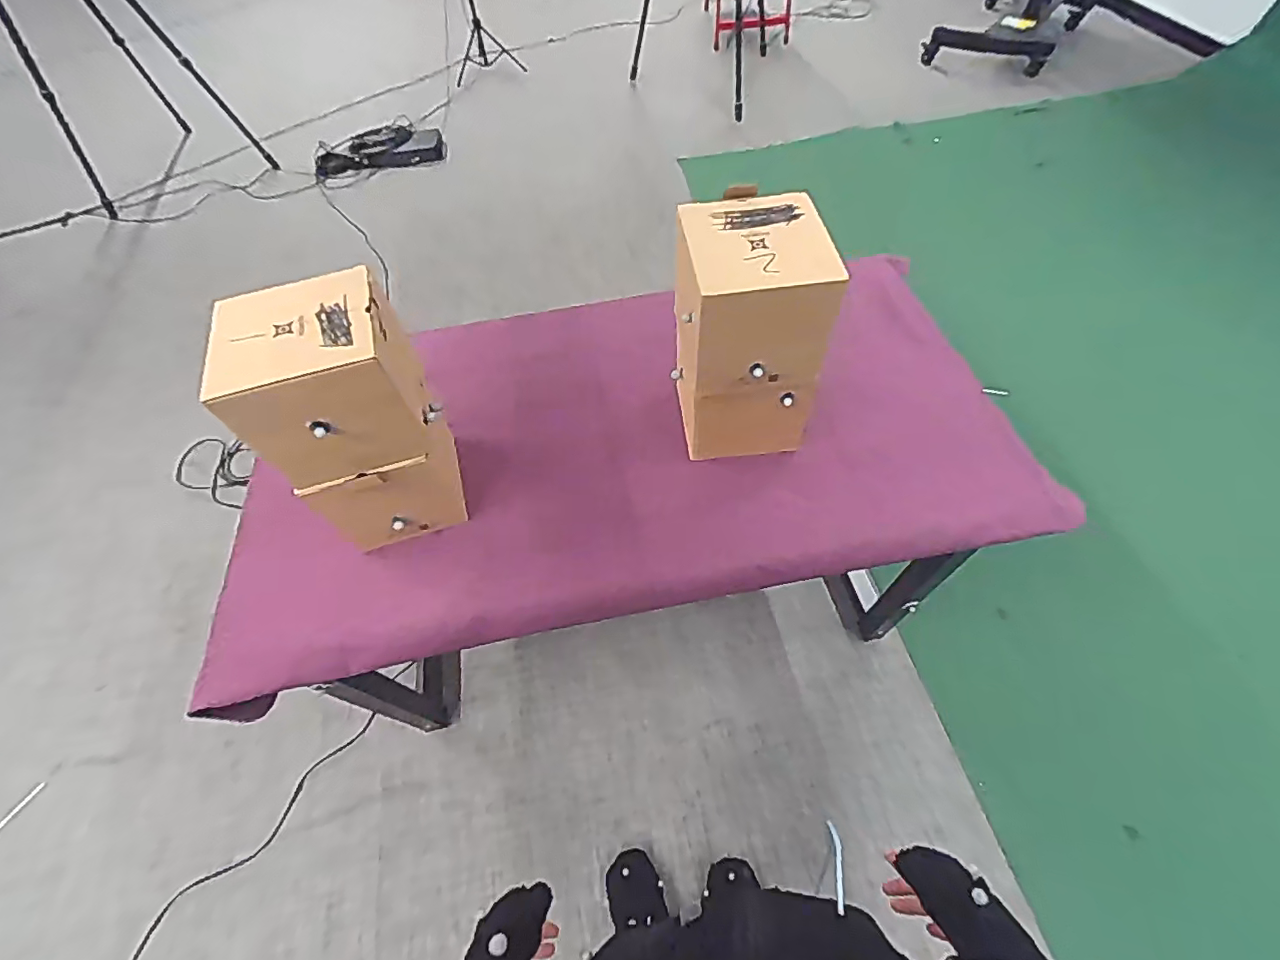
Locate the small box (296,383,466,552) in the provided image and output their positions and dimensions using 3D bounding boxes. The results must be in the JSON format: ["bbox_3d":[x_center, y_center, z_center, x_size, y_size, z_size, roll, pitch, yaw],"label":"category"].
[{"bbox_3d":[-0.370,-0.021,0.794,0.168,0.176,0.179,-17,58,-6],"label":"small box"}]

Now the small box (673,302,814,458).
[{"bbox_3d":[0.150,-0.148,0.839,0.179,0.176,0.168,-7,57,0],"label":"small box"}]

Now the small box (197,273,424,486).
[{"bbox_3d":[-0.375,-0.117,0.657,0.179,0.176,0.168,-15,55,-6],"label":"small box"}]
